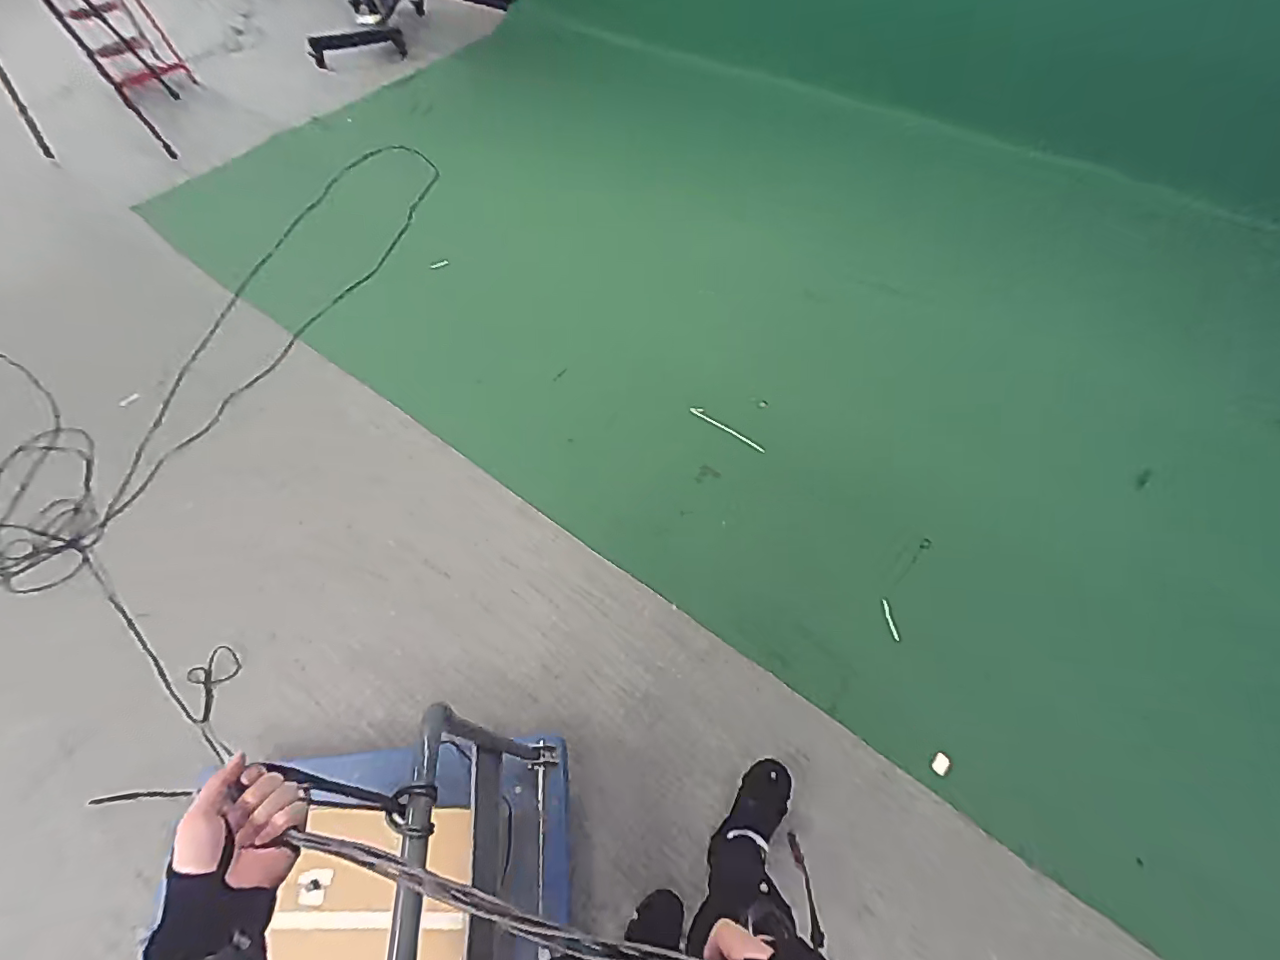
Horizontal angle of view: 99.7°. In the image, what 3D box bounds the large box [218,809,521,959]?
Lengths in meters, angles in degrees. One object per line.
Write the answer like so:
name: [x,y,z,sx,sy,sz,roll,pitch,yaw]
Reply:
large box: [-0.459,0.793,0.993,0.408,0.320,0.320,-2,58,3]
